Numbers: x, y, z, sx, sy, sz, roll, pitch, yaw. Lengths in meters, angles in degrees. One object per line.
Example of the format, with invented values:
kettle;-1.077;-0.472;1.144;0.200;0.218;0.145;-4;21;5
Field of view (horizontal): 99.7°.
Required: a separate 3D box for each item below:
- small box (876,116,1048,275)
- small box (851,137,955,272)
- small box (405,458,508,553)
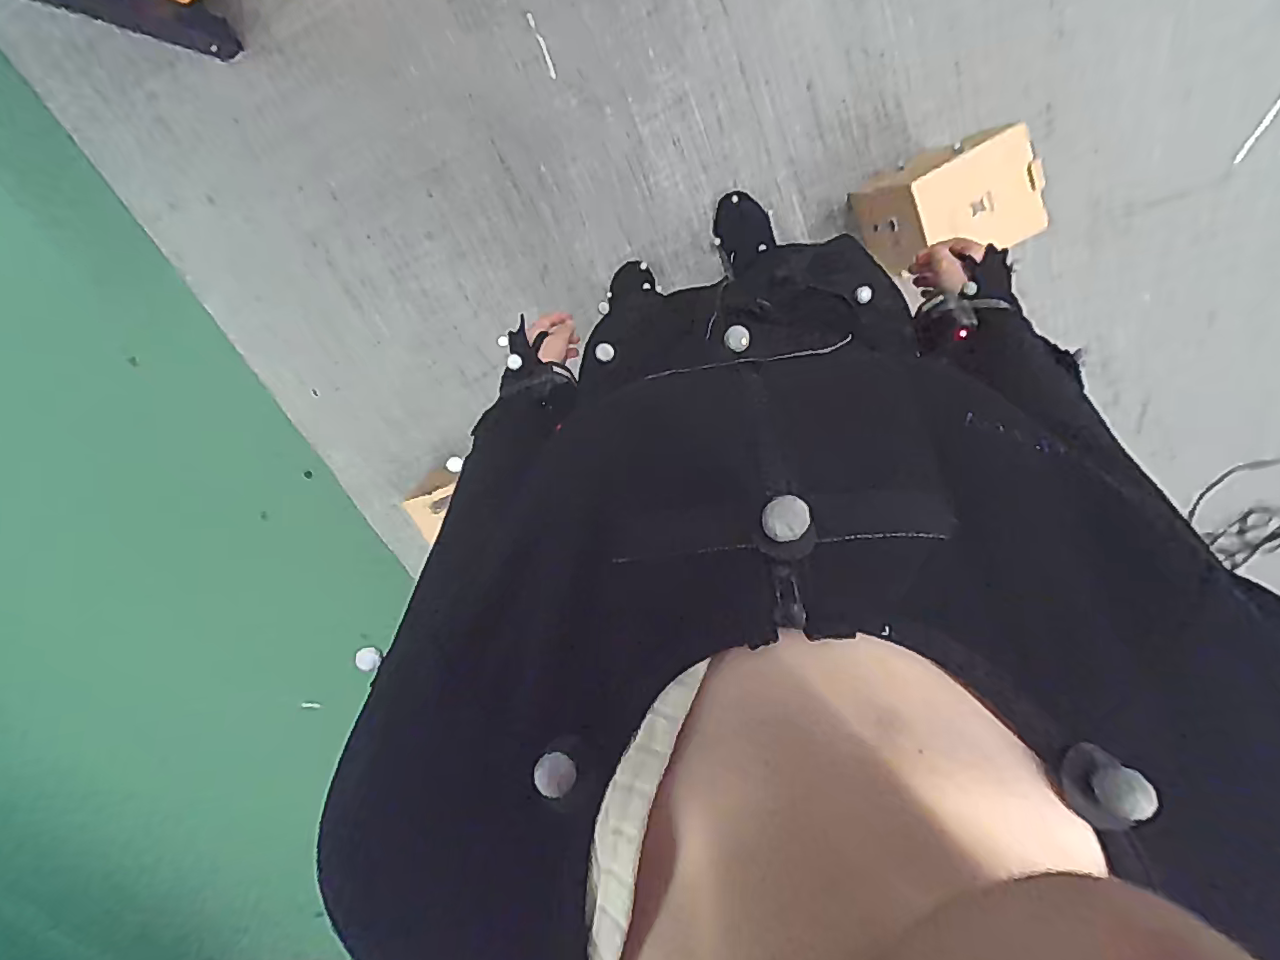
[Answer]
small box;0.534;-0.474;0.915;0.179;0.176;0.168;-26;112;16
small box;0.542;-0.537;1.067;0.168;0.176;0.179;-26;112;15
small box;-0.475;0.059;1.426;0.168;0.176;0.179;-18;116;12
